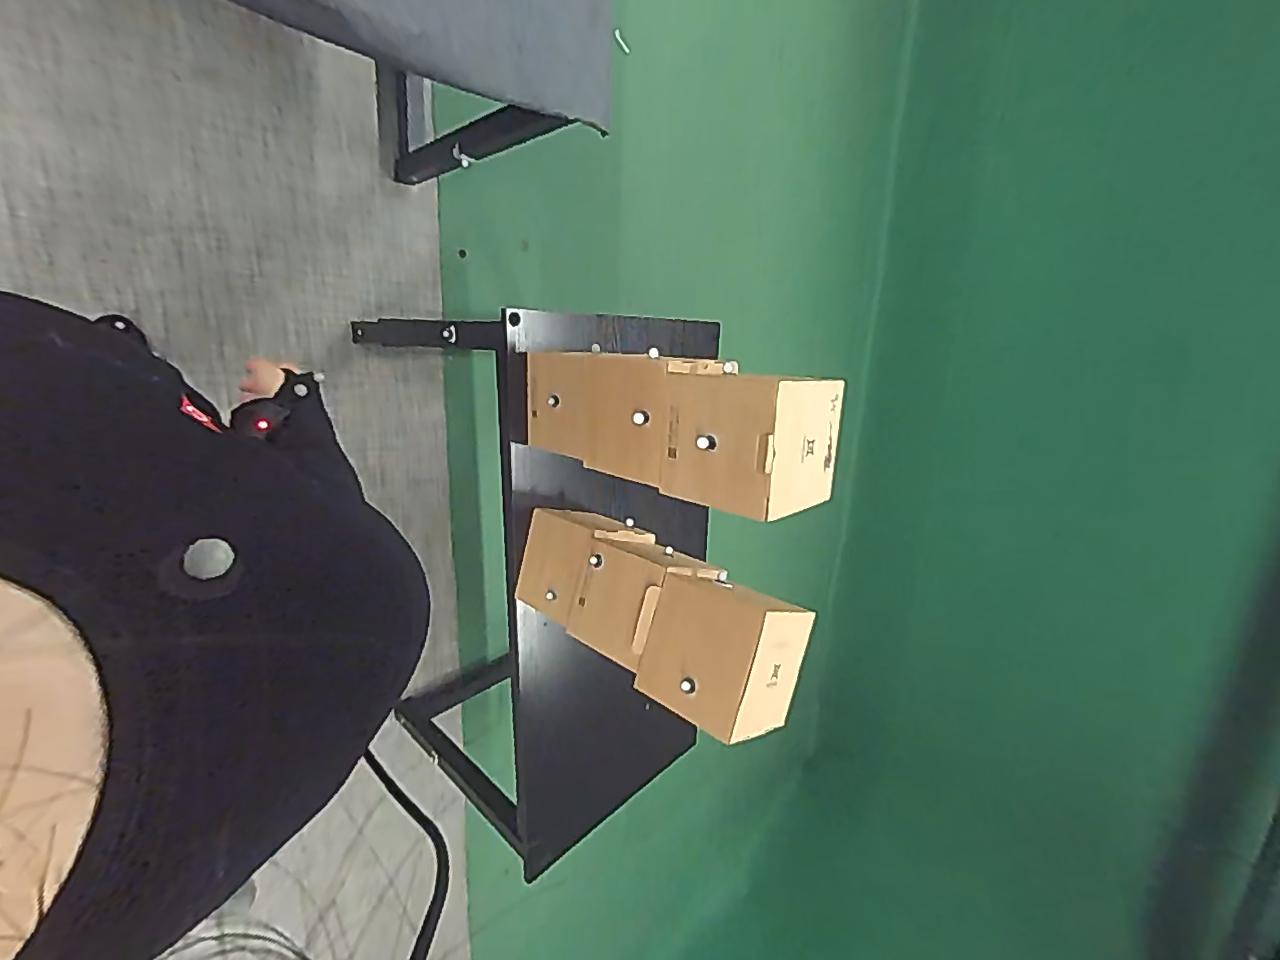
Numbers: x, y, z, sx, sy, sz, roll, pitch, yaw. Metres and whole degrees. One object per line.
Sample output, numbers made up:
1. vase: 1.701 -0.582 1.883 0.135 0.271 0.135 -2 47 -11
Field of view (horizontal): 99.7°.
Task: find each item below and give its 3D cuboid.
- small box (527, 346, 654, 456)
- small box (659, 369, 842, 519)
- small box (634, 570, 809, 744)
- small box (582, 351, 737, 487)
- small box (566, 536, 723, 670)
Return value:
1. small box: -0.081 -0.143 0.940 0.179 0.176 0.168 -13 112 -45
2. small box: 0.142 -0.057 0.717 0.179 0.176 0.168 -10 109 -45
3. small box: 0.114 0.244 0.781 0.168 0.176 0.179 17 89 -50
4. small box: 0.025 -0.101 0.824 0.168 0.176 0.179 -12 111 -45
5. small box: 0.005 0.196 0.893 0.179 0.176 0.168 14 92 -50
